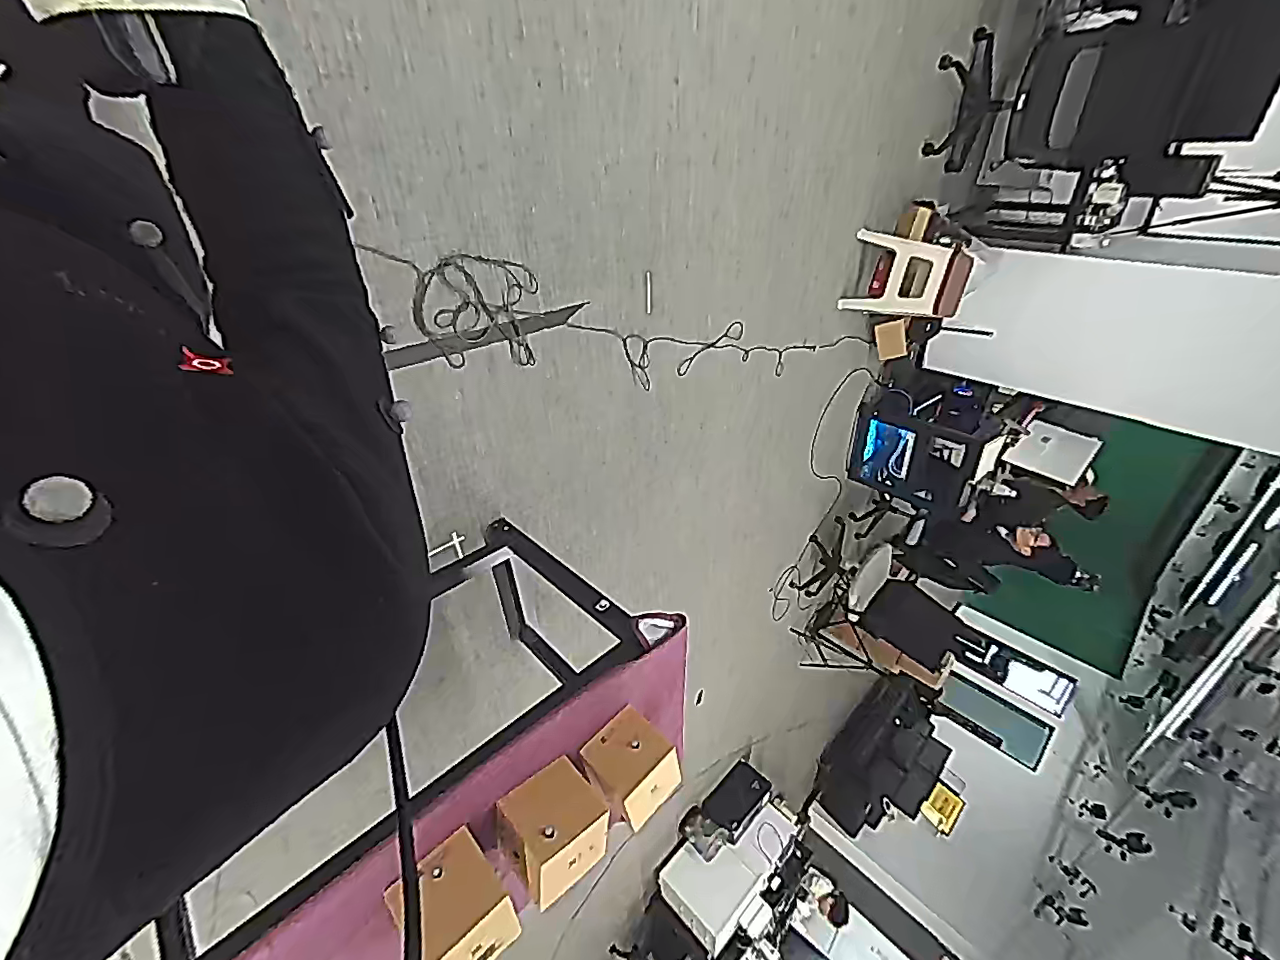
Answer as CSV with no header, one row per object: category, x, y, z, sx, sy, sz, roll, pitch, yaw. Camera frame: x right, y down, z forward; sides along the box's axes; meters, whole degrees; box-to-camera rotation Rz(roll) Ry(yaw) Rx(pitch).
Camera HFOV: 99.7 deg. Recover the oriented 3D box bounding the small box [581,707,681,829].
small box,-0.023,0.685,1.308,0.168,0.176,0.179,-35,134,-29
